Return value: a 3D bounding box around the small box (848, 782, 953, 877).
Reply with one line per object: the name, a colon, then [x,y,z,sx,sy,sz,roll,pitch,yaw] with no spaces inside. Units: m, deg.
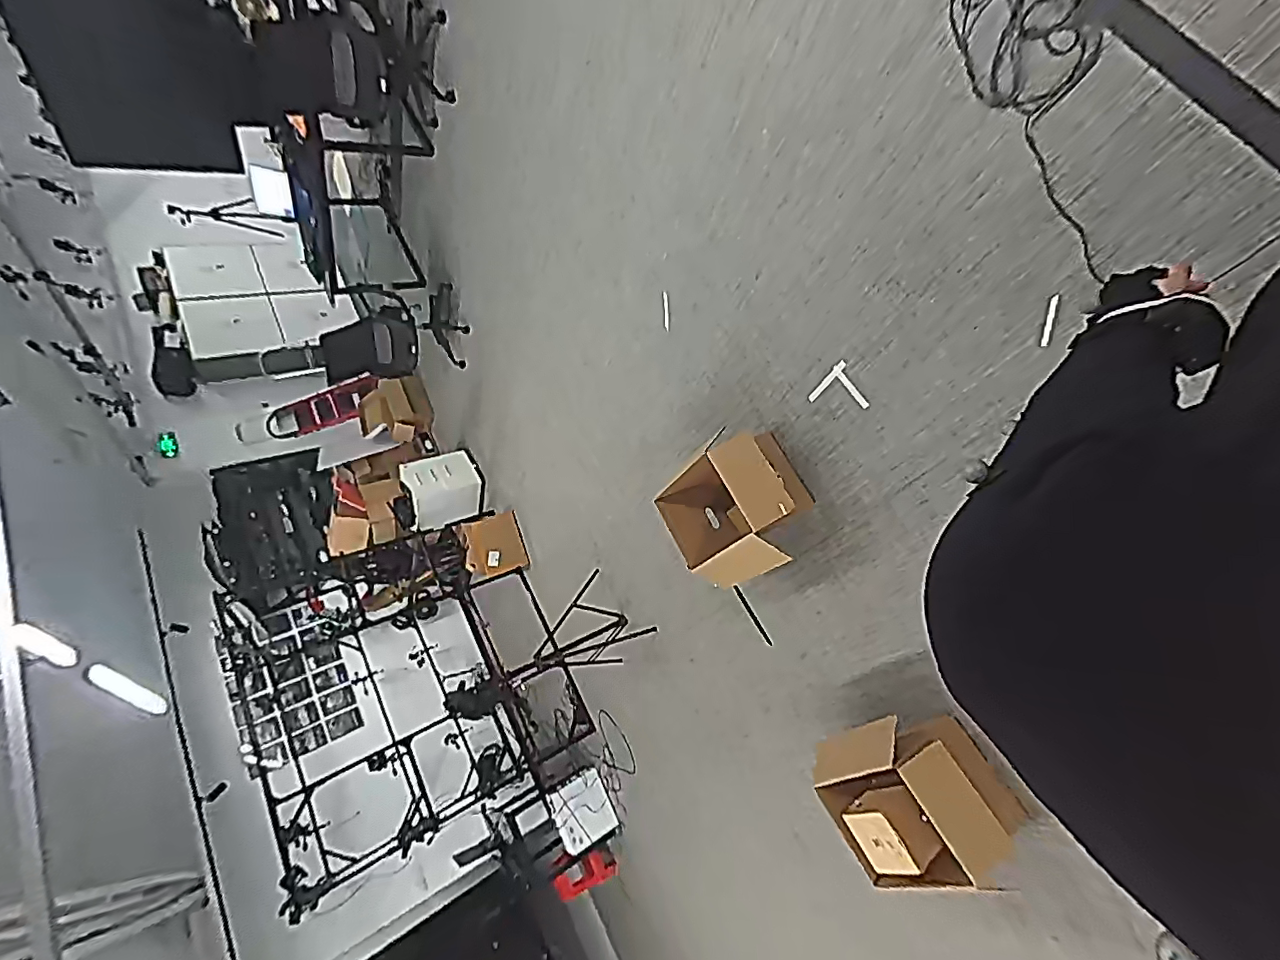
small box: [0.746,0.995,1.548,0.168,0.176,0.179,58,145,20]
